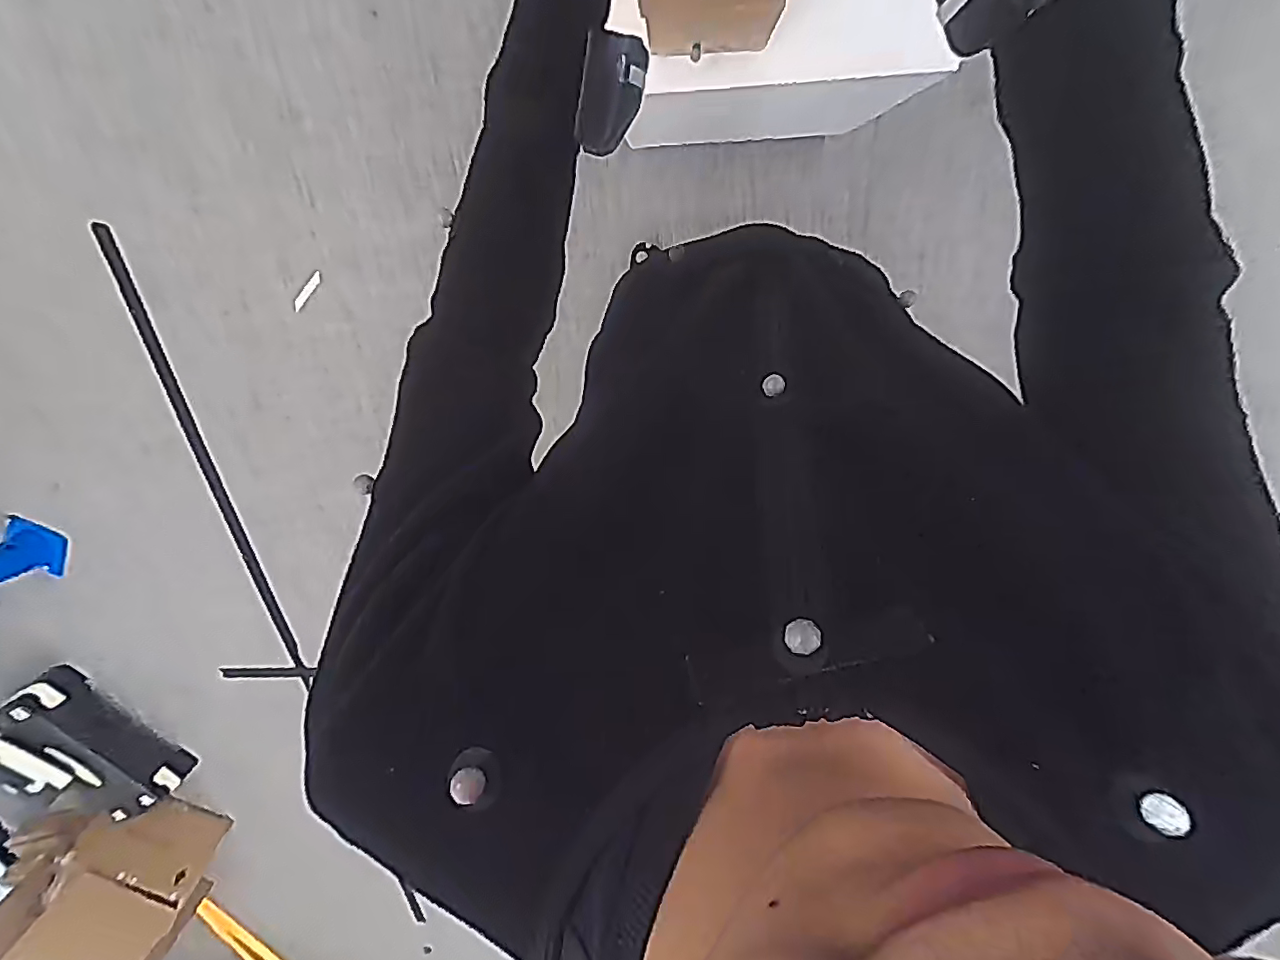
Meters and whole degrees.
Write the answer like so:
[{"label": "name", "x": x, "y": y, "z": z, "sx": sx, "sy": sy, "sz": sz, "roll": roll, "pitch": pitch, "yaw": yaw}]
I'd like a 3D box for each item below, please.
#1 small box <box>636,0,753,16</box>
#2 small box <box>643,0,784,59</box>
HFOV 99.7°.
[{"label": "small box", "x": 0.071, "y": -0.582, "z": 0.513, "sx": 0.179, "sy": 0.176, "sz": 0.168, "roll": -4, "pitch": 113, "yaw": 6}, {"label": "small box", "x": 0.085, "y": -0.650, "z": 0.661, "sx": 0.168, "sy": 0.176, "sz": 0.179, "roll": 0, "pitch": 114, "yaw": 4}]
